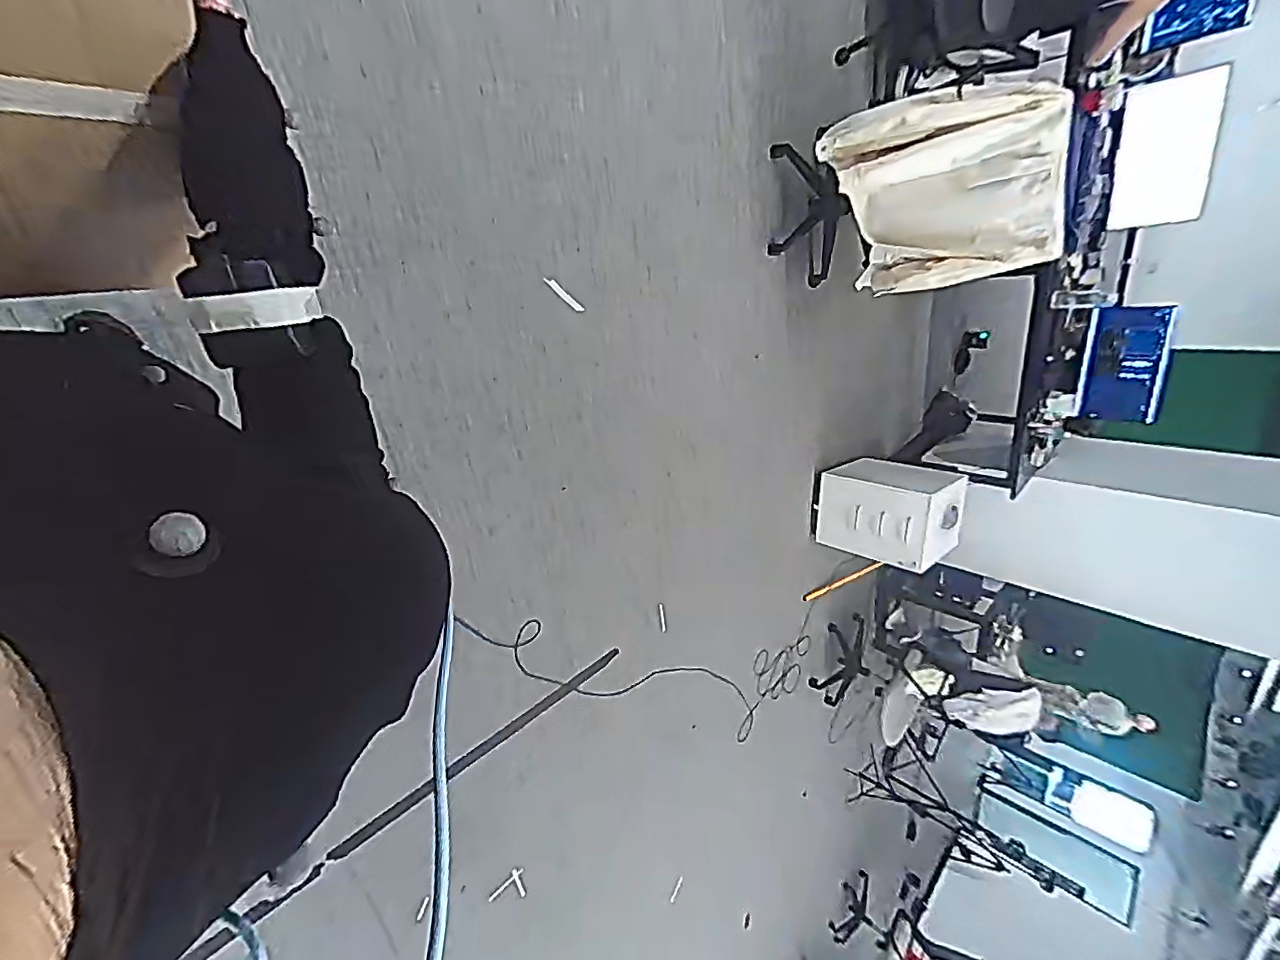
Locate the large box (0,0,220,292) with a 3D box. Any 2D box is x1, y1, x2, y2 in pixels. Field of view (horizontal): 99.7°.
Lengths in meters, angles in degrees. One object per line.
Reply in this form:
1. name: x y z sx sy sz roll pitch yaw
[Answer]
1. large box: -0.478 -0.292 0.218 0.408 0.320 0.320 -24 82 -40
